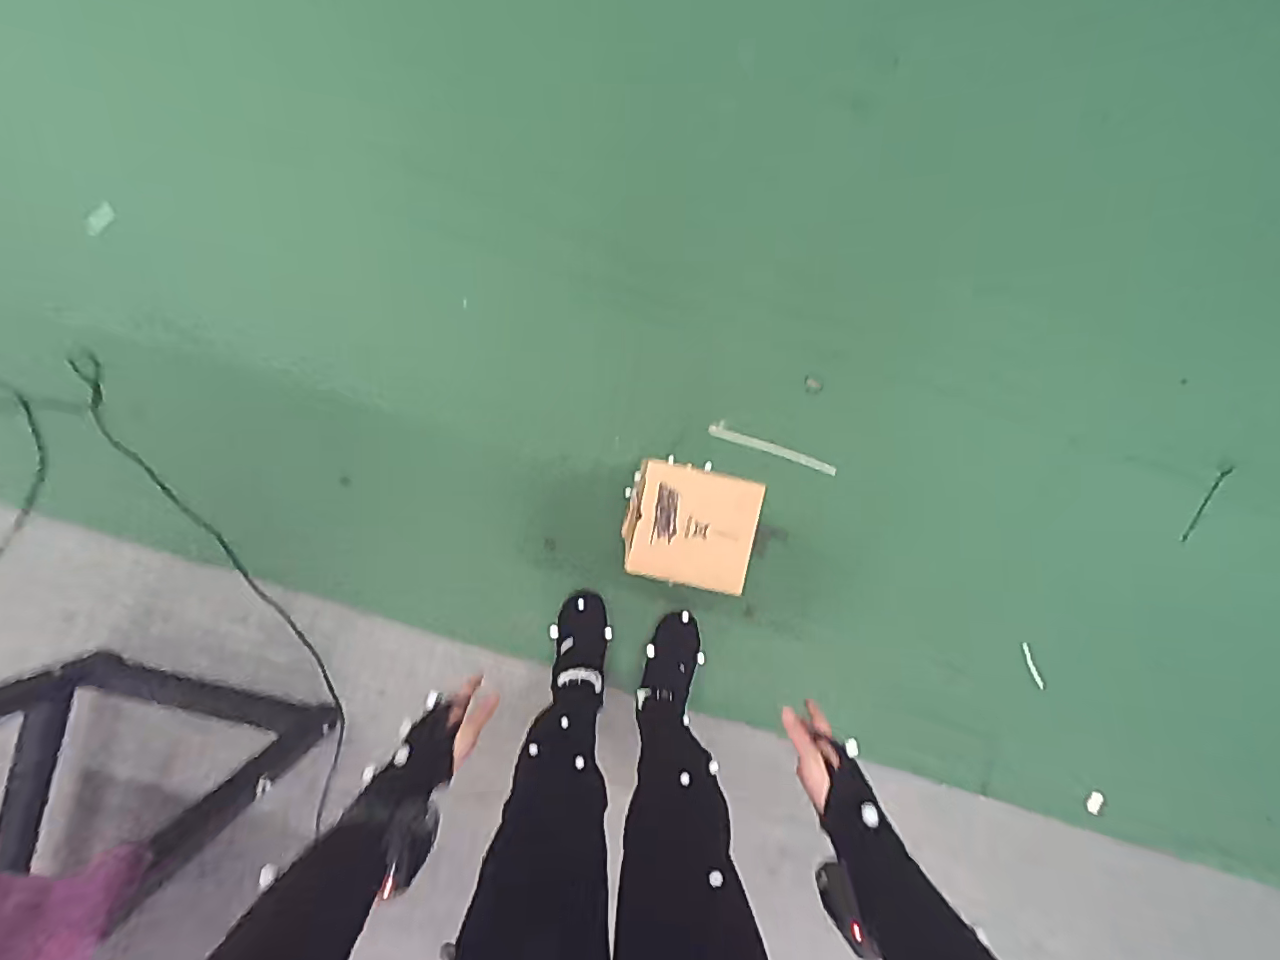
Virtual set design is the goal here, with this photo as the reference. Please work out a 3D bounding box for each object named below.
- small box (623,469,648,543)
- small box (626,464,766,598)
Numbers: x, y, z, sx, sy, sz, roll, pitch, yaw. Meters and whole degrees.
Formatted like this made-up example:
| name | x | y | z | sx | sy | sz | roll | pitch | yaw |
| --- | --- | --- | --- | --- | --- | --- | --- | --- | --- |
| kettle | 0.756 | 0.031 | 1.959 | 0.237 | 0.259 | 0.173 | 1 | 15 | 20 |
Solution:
| name | x | y | z | sx | sy | sz | roll | pitch | yaw |
| --- | --- | --- | --- | --- | --- | --- | --- | --- | --- |
| small box | 0.069 | 0.074 | 1.189 | 0.179 | 0.176 | 0.168 | 17 | 90 | -1 |
| small box | 0.079 | 0.075 | 0.863 | 0.179 | 0.176 | 0.168 | 13 | 91 | -2 |
